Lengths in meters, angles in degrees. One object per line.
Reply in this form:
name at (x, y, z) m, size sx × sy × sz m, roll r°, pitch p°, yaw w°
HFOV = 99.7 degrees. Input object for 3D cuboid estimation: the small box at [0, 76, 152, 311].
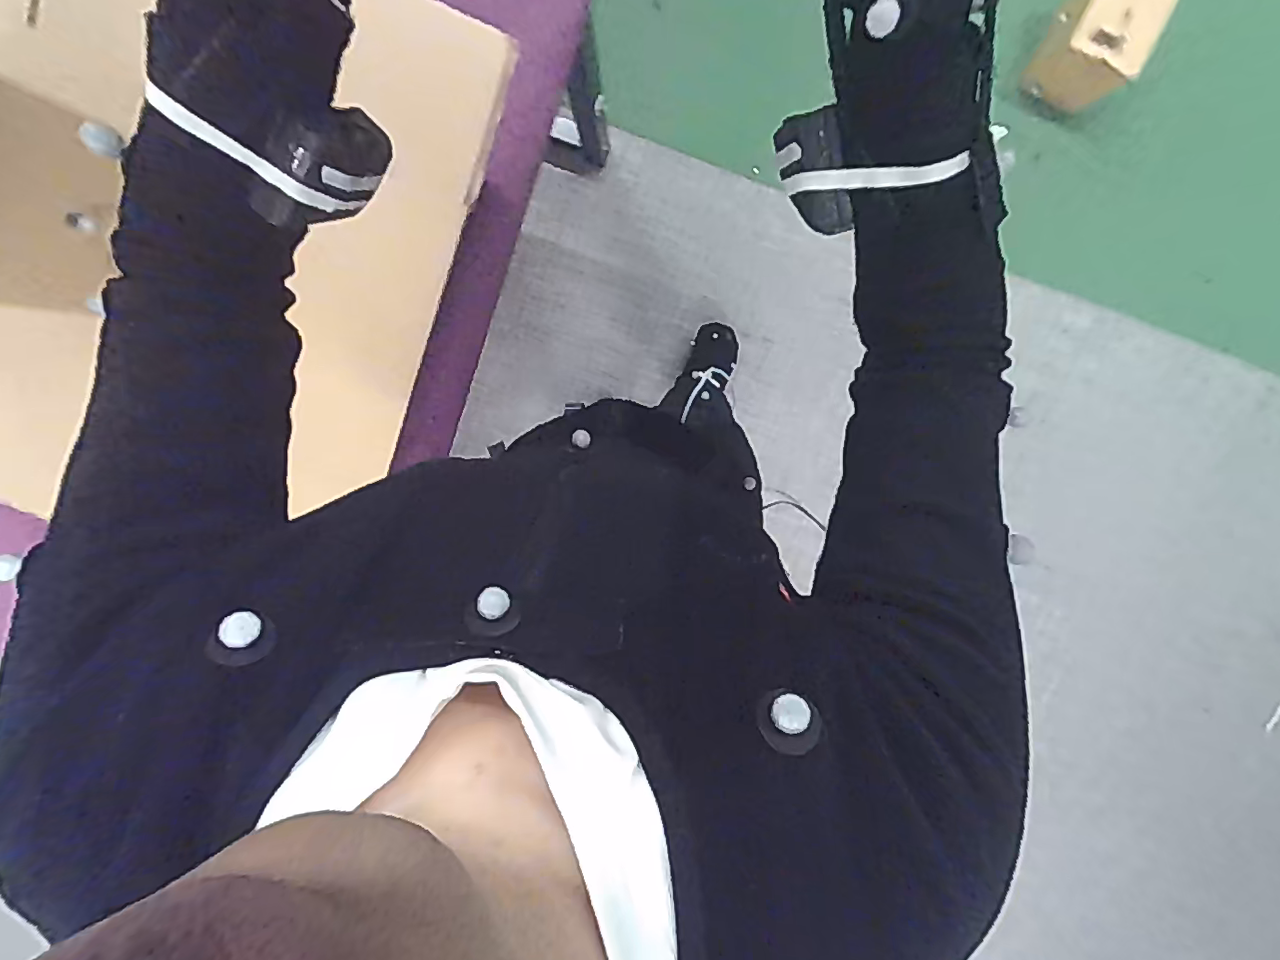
small box at (-0.553, -0.245, 0.422) m, size 0.179 × 0.176 × 0.168 m, roll 21°, pitch 100°, yaw -3°

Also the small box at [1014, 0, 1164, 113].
small box at (0.996, -0.978, 1.223) m, size 0.168 × 0.176 × 0.179 m, roll 19°, pitch 102°, yaw -4°
